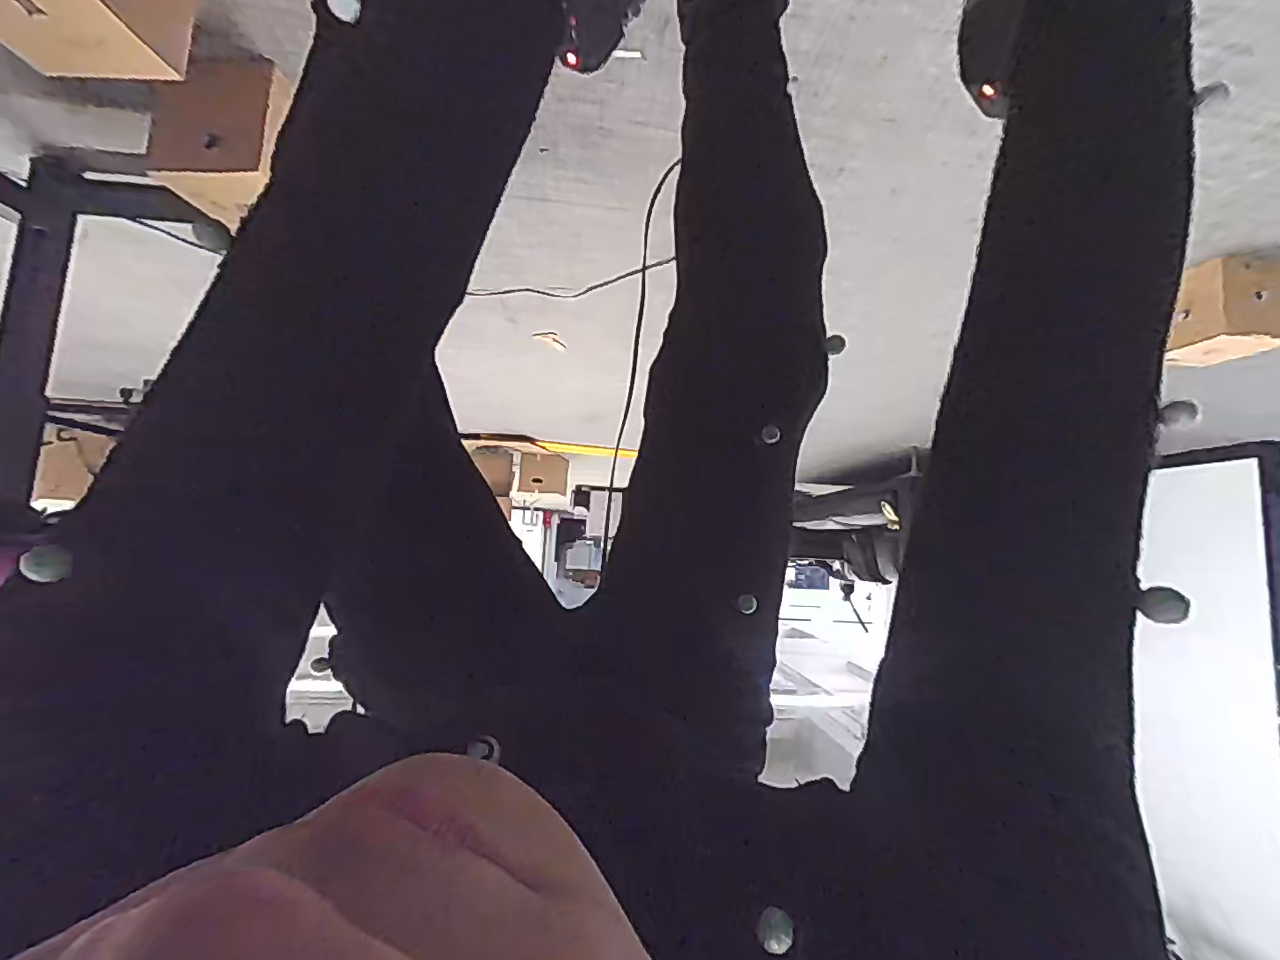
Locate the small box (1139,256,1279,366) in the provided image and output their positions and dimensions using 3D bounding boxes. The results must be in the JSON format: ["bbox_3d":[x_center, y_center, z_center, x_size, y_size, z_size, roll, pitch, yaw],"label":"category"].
[{"bbox_3d":[1.225,-0.359,1.160,0.168,0.176,0.179,4,173,-6],"label":"small box"}]

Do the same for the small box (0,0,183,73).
[{"bbox_3d":[-0.574,-0.529,0.501,0.168,0.176,0.179,4,175,2],"label":"small box"}]

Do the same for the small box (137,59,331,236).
[{"bbox_3d":[-0.596,-0.493,0.816,0.179,0.176,0.168,3,174,3],"label":"small box"}]
